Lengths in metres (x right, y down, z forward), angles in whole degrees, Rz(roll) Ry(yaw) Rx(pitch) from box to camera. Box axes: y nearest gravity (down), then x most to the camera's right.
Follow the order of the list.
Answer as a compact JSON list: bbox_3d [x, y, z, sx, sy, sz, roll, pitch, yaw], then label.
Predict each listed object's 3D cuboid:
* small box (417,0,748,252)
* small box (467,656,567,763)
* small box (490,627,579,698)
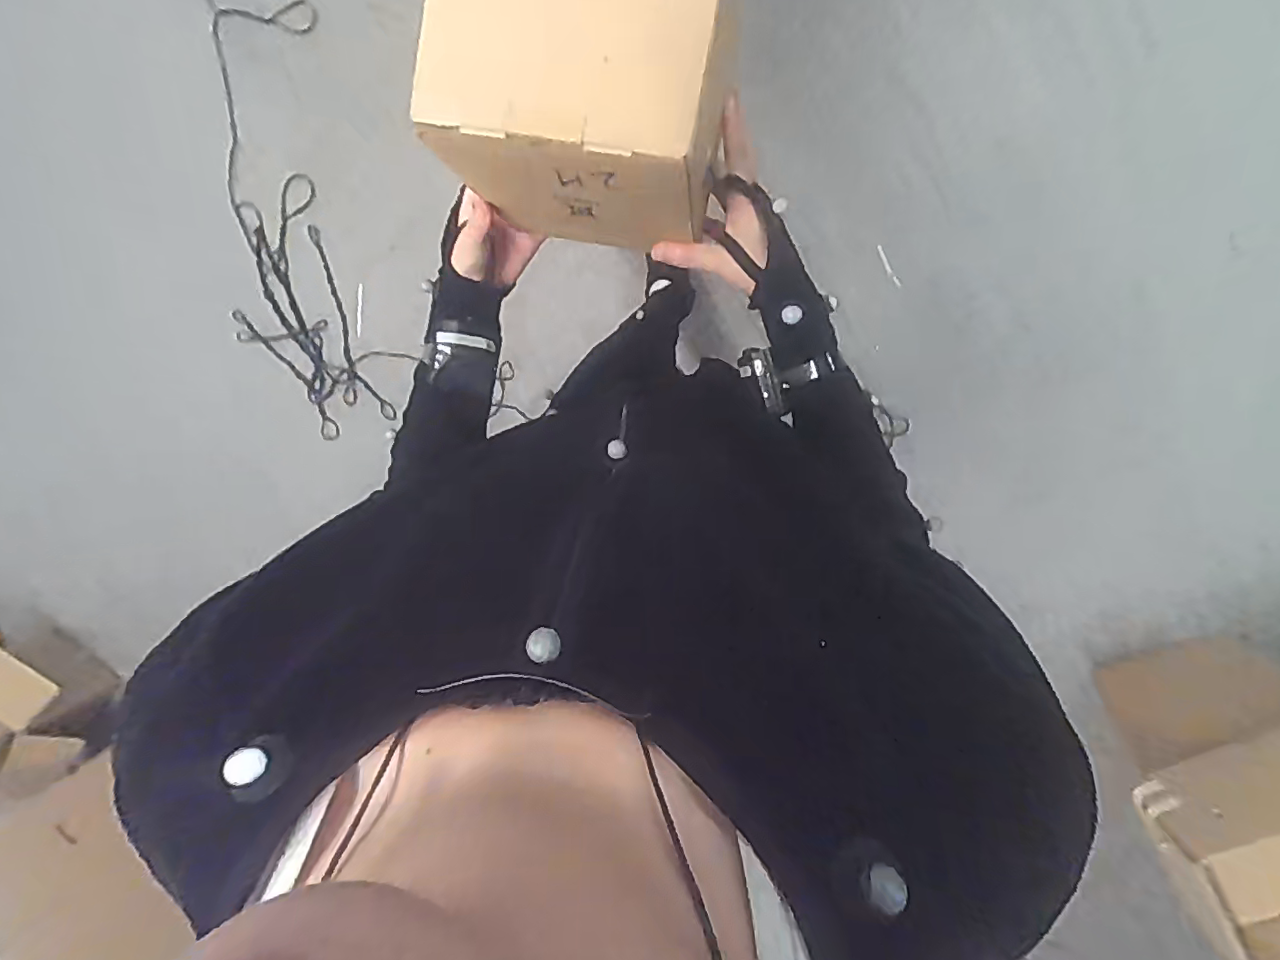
[{"bbox_3d":[-0.021,-0.280,0.367,0.168,0.179,0.176,11,96,6],"label":"small box"},{"bbox_3d":[-0.322,0.610,1.454,0.179,0.176,0.168,-31,99,14],"label":"small box"},{"bbox_3d":[-0.307,0.565,1.611,0.168,0.176,0.179,-32,99,14],"label":"small box"}]
